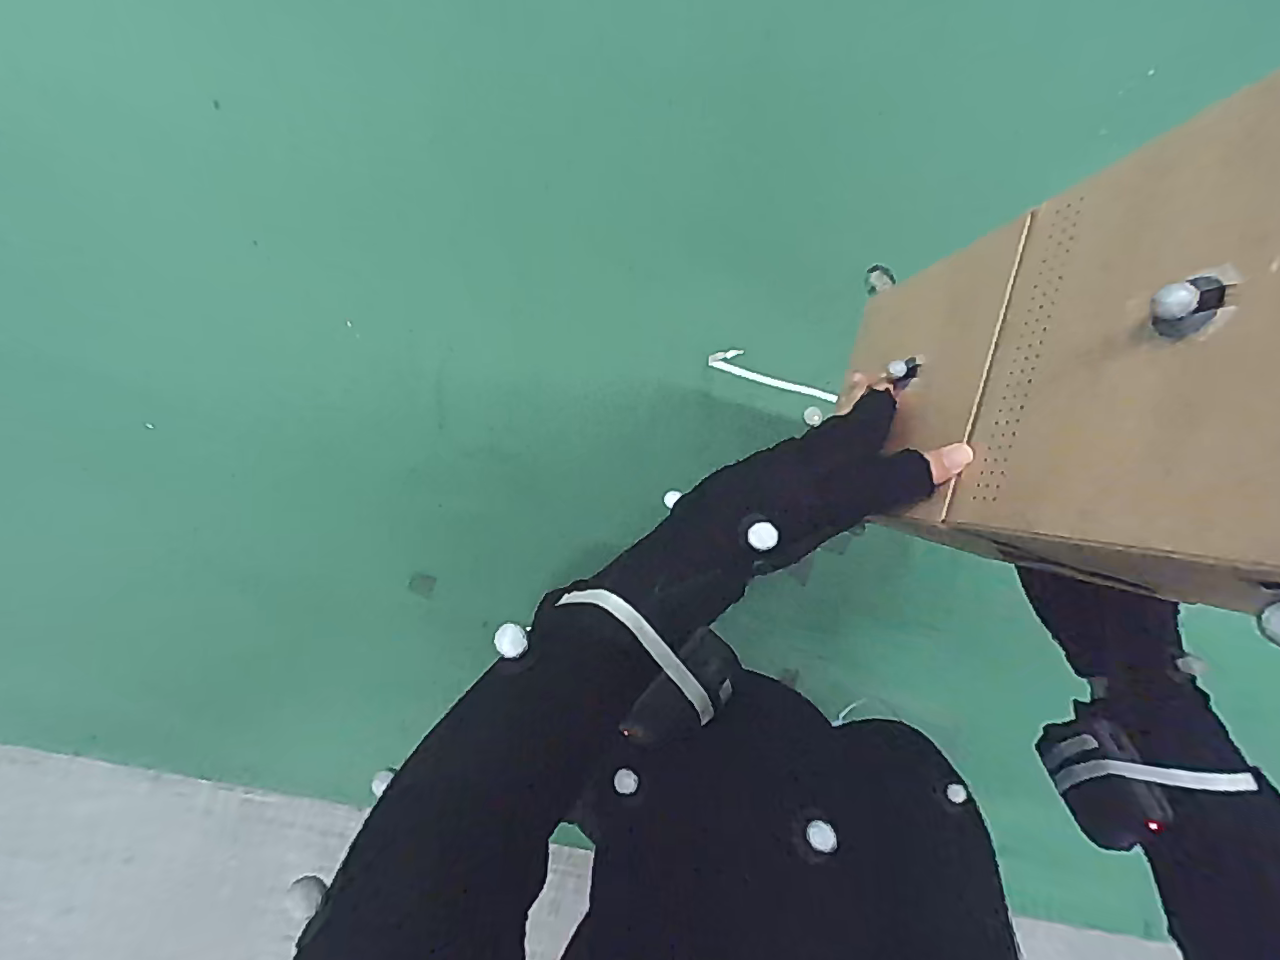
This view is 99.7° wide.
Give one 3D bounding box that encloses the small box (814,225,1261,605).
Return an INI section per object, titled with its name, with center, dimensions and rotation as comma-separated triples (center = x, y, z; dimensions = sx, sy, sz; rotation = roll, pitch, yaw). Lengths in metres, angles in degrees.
[small box]
center = 0.245, -0.035, 0.378
dimensions = 0.168, 0.176, 0.179
rotation = 16, 89, -7
